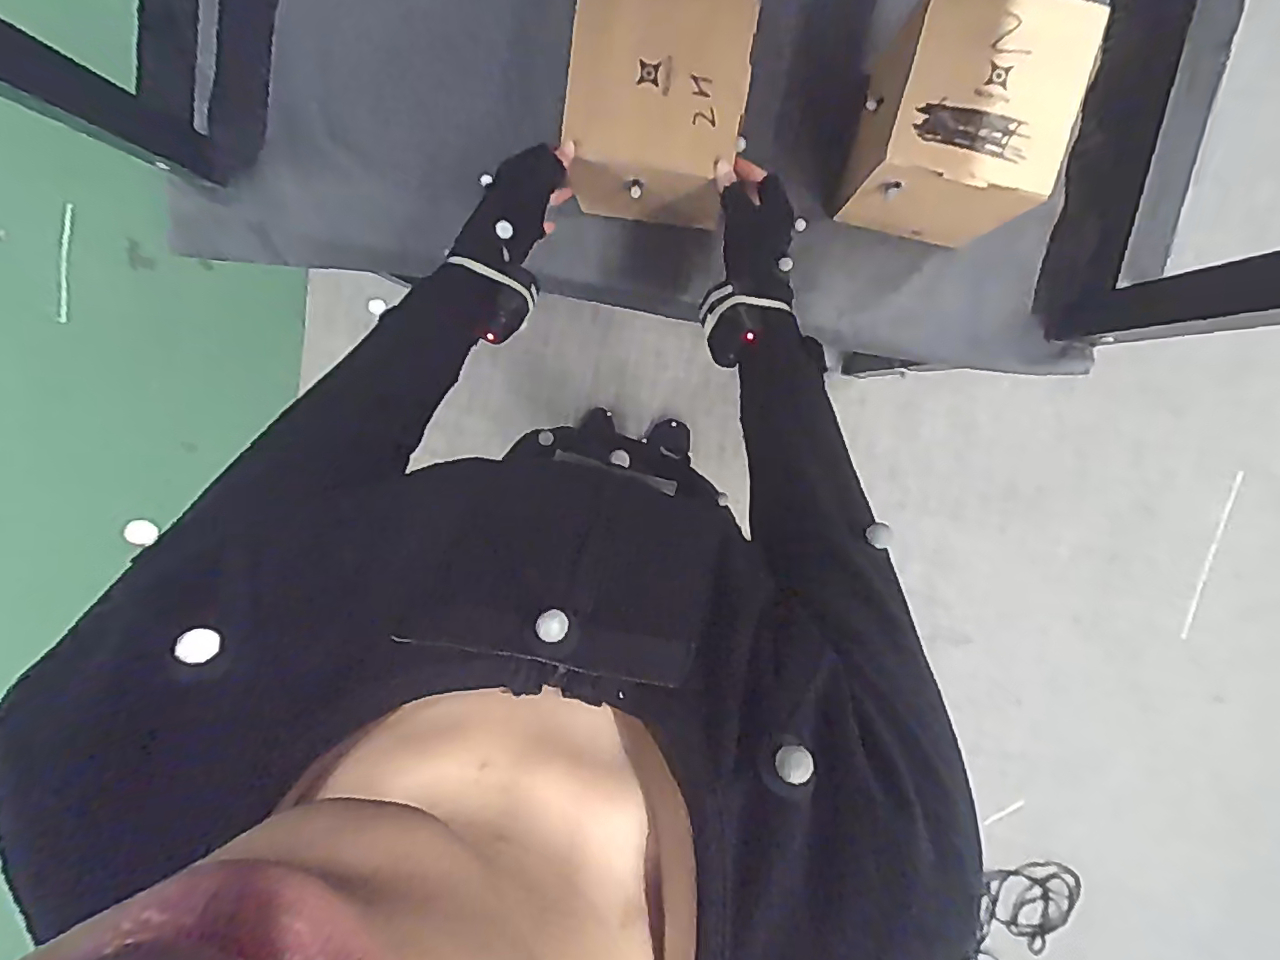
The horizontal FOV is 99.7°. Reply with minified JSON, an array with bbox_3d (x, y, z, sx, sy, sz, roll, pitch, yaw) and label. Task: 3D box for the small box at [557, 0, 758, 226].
[{"bbox_3d":[0.018,-0.402,0.605,0.179,0.176,0.168,9,100,1],"label":"small box"}]
